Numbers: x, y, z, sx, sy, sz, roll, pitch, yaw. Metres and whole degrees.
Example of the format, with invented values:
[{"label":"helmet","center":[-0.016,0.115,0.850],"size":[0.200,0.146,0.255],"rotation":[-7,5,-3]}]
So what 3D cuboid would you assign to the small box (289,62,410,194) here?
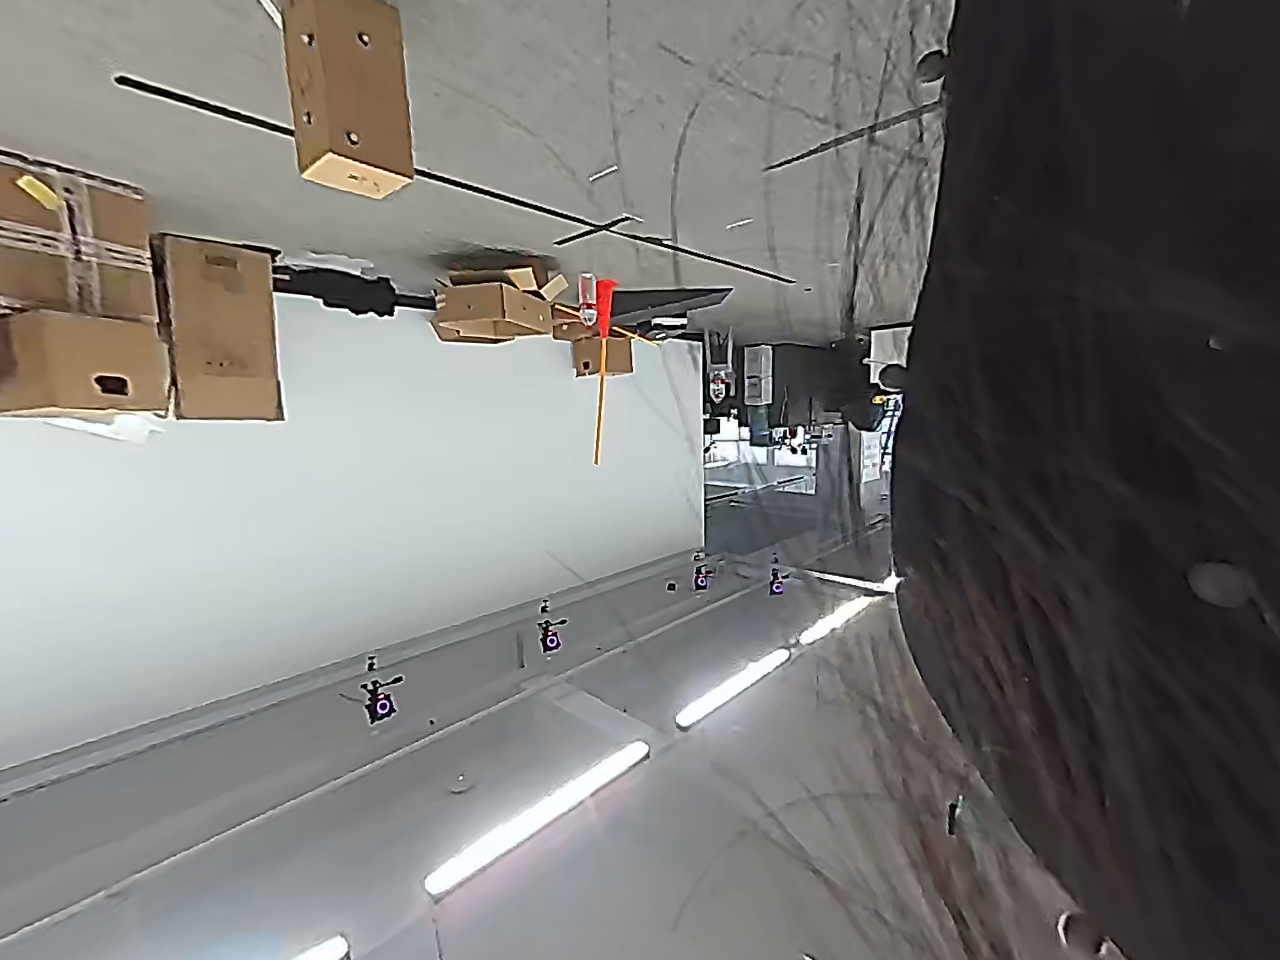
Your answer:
[{"label":"small box","center":[-0.614,-0.736,1.139],"size":[0.168,0.176,0.179],"rotation":[6,-169,40]}]
